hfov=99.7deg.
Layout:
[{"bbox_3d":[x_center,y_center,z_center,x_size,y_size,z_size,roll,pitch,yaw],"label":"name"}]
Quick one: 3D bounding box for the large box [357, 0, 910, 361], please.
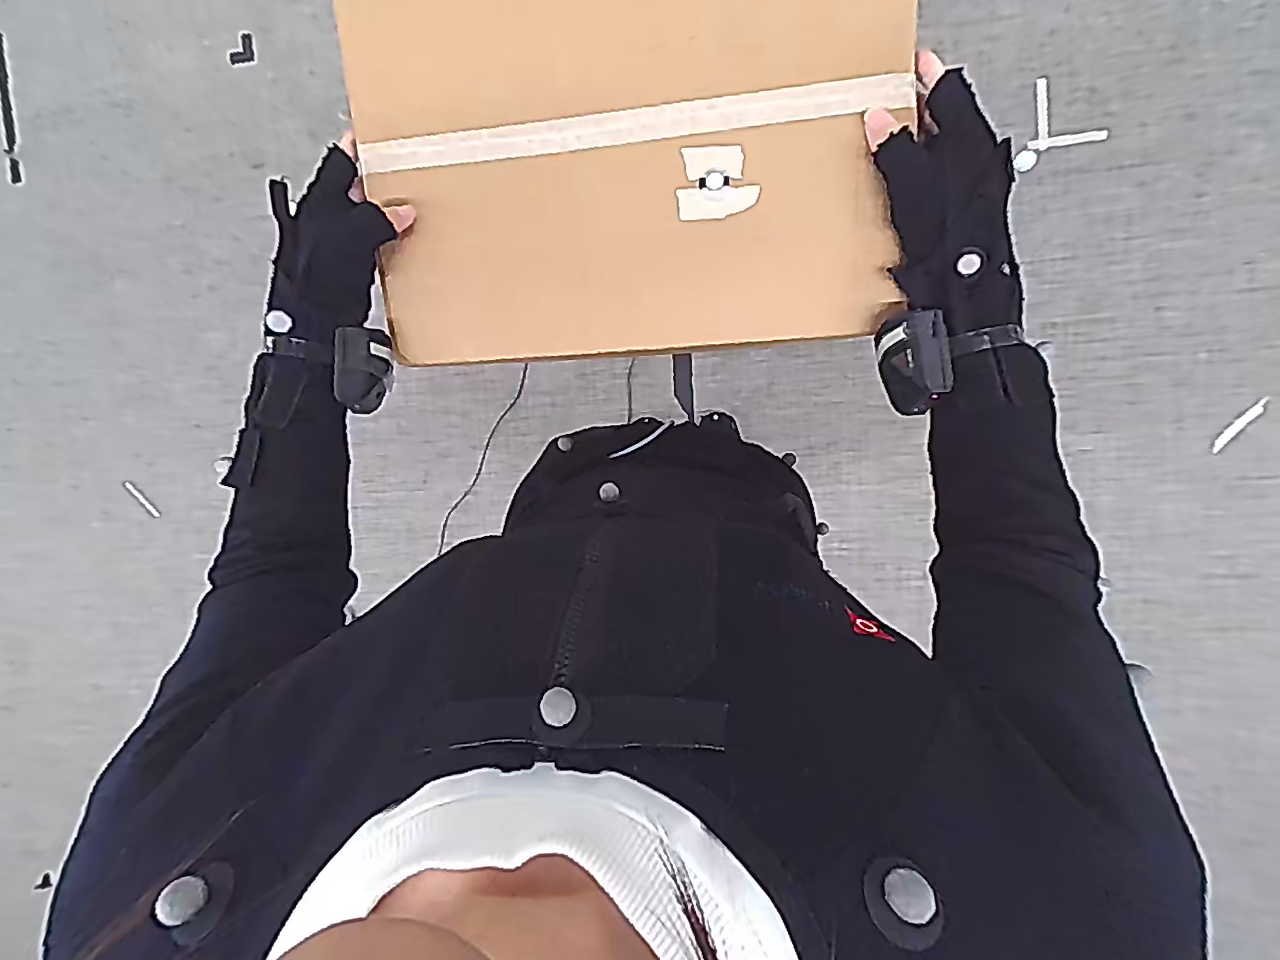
[{"bbox_3d":[0.006,-0.295,0.550,0.408,0.320,0.320,-3,103,7],"label":"large box"}]
